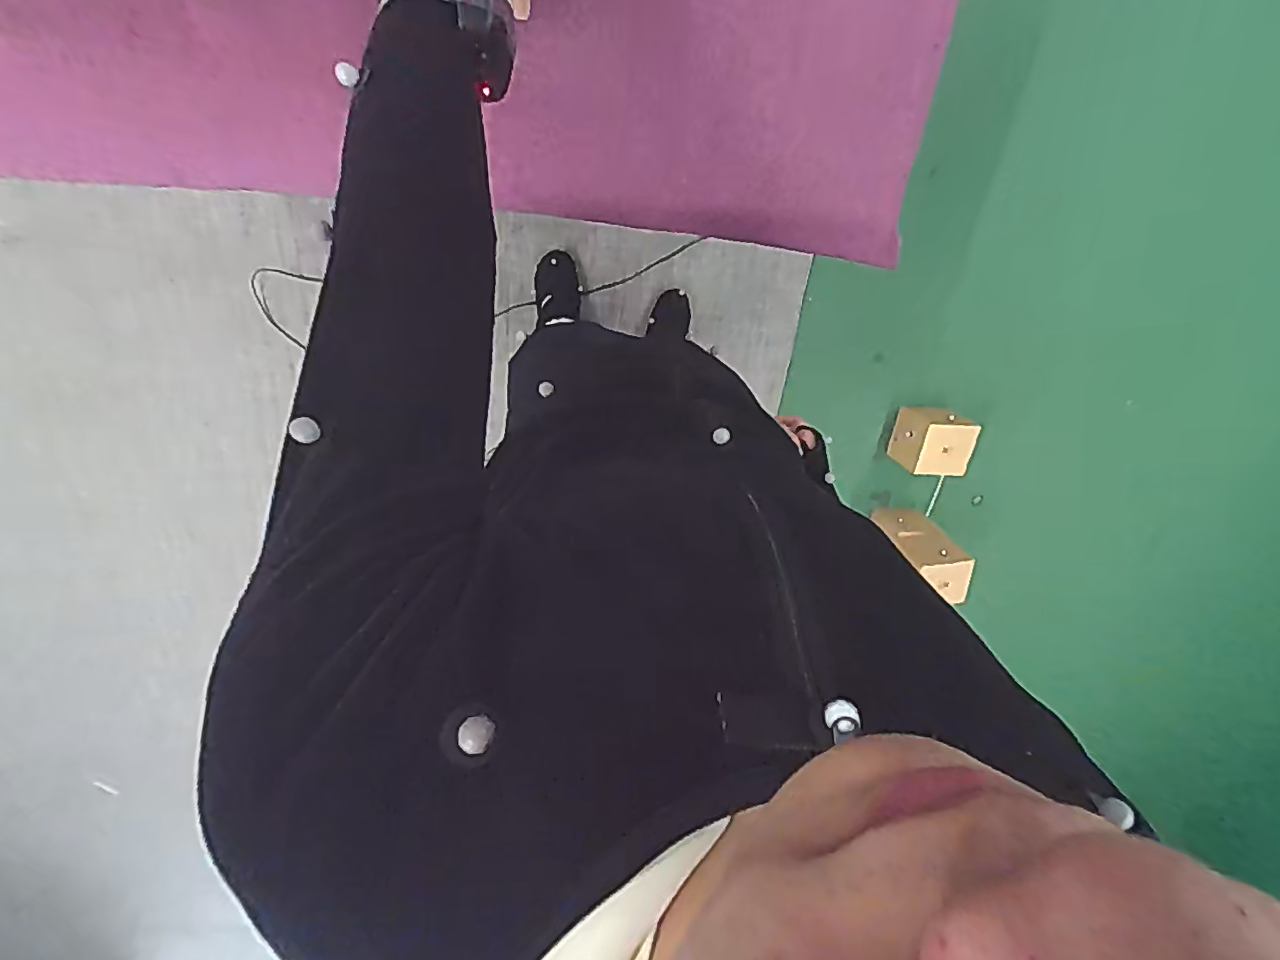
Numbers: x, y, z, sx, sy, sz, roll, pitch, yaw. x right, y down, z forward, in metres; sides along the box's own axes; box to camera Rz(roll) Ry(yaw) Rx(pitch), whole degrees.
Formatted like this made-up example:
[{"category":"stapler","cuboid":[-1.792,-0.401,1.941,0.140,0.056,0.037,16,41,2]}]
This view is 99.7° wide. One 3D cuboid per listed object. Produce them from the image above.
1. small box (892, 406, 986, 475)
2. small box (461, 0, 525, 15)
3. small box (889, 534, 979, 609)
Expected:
[{"category":"small box","cuboid":[0.930,-0.127,1.699,0.179,0.176,0.168,1,116,-9]},{"category":"small box","cuboid":[-0.180,-0.549,0.471,0.168,0.176,0.179,9,123,-11]},{"category":"small box","cuboid":[0.927,0.284,1.718,0.179,0.176,0.168,-5,117,-3]}]
